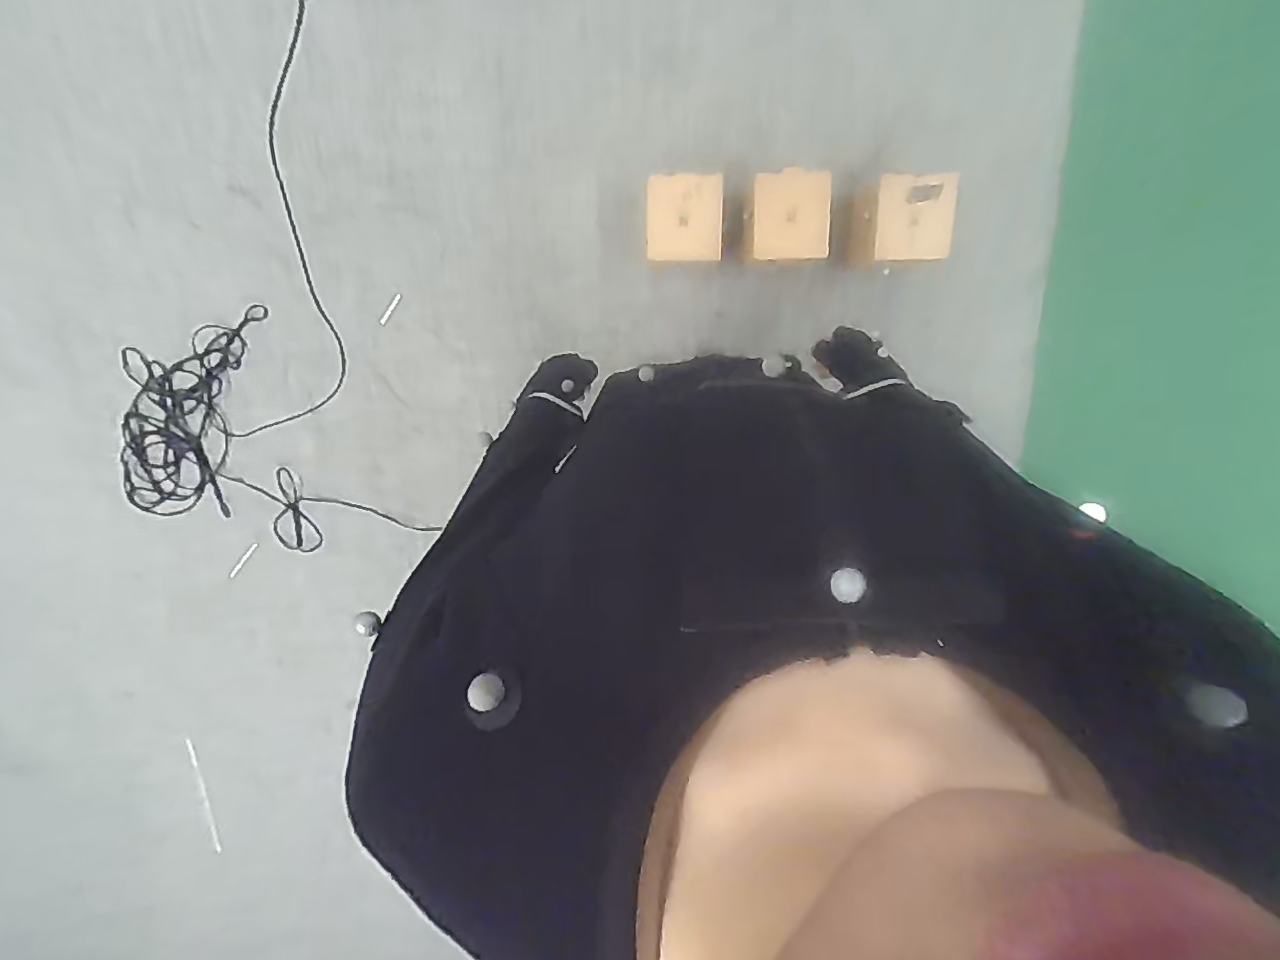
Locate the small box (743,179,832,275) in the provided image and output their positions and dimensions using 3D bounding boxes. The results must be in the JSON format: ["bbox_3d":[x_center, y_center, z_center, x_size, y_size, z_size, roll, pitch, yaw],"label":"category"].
[{"bbox_3d":[0.336,-0.578,1.257,0.168,0.176,0.179,-2,103,2],"label":"small box"}]

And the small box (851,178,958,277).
[{"bbox_3d":[0.599,-0.574,1.247,0.168,0.176,0.179,-1,104,2],"label":"small box"}]

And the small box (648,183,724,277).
[{"bbox_3d":[0.104,-0.576,1.265,0.168,0.176,0.179,0,103,2],"label":"small box"}]
